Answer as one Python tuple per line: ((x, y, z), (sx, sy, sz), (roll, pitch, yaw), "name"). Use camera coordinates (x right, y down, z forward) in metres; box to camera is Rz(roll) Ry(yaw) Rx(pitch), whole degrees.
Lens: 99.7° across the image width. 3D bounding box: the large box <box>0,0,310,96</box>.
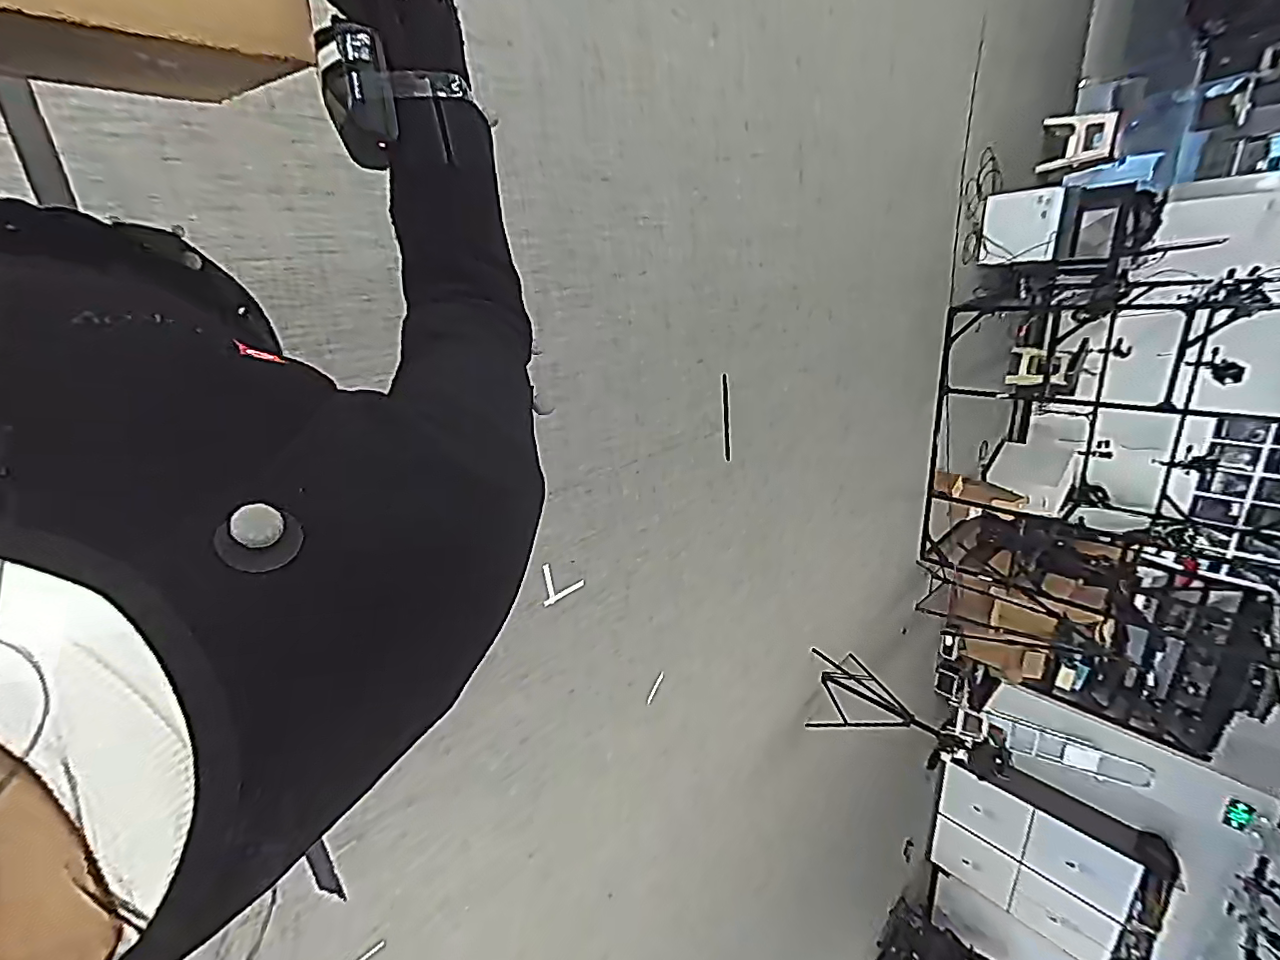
((-0.440, -0.385, 0.229), (0.408, 0.320, 0.320), (-22, 128, -39), "large box")
